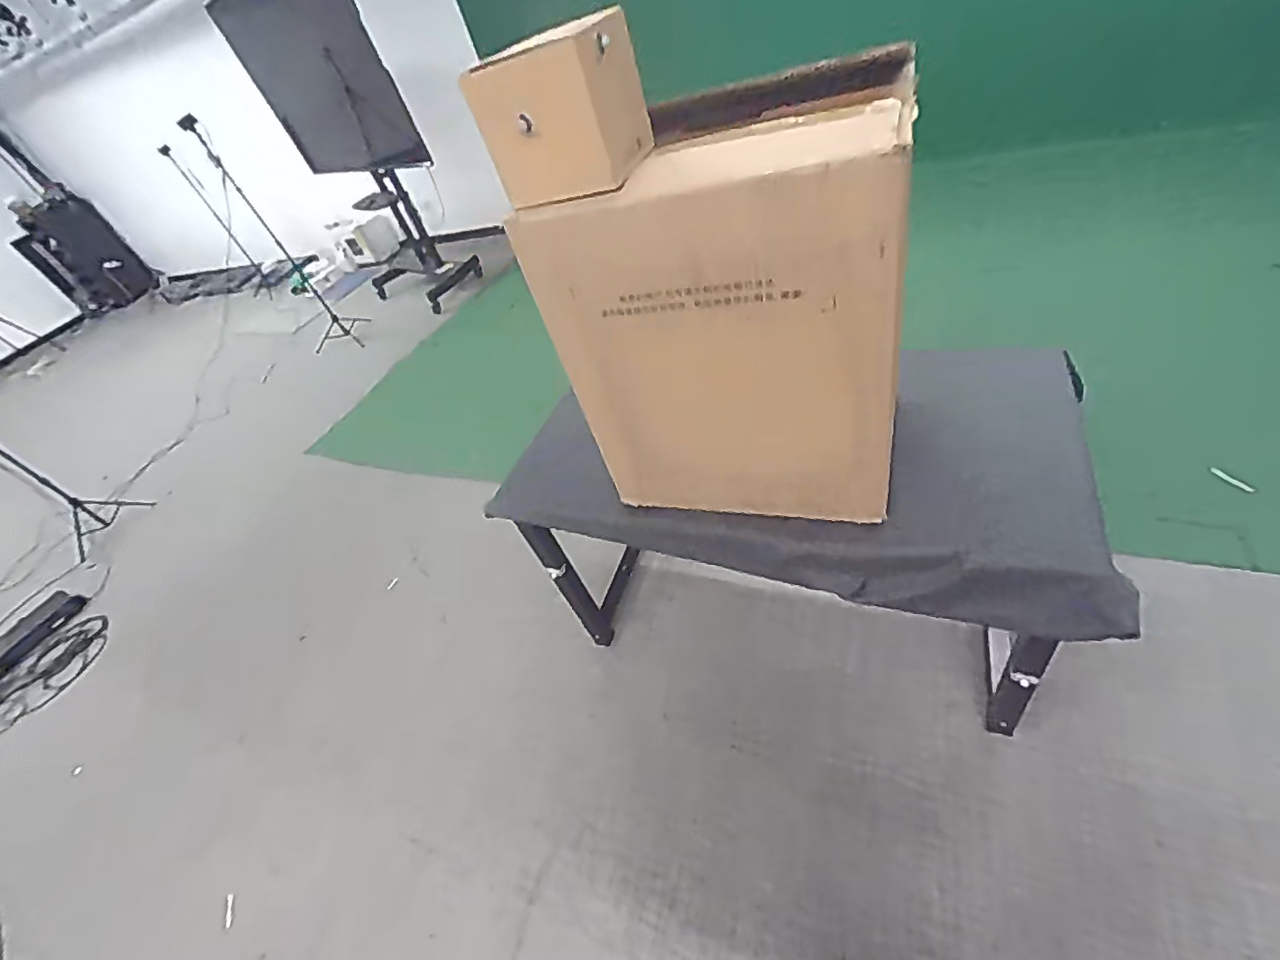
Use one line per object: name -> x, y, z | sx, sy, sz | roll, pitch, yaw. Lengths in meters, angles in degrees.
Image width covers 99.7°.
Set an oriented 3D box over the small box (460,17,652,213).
small box -> -0.105, -0.497, 0.754 | 0.179, 0.176, 0.168 | 2, 48, 26
